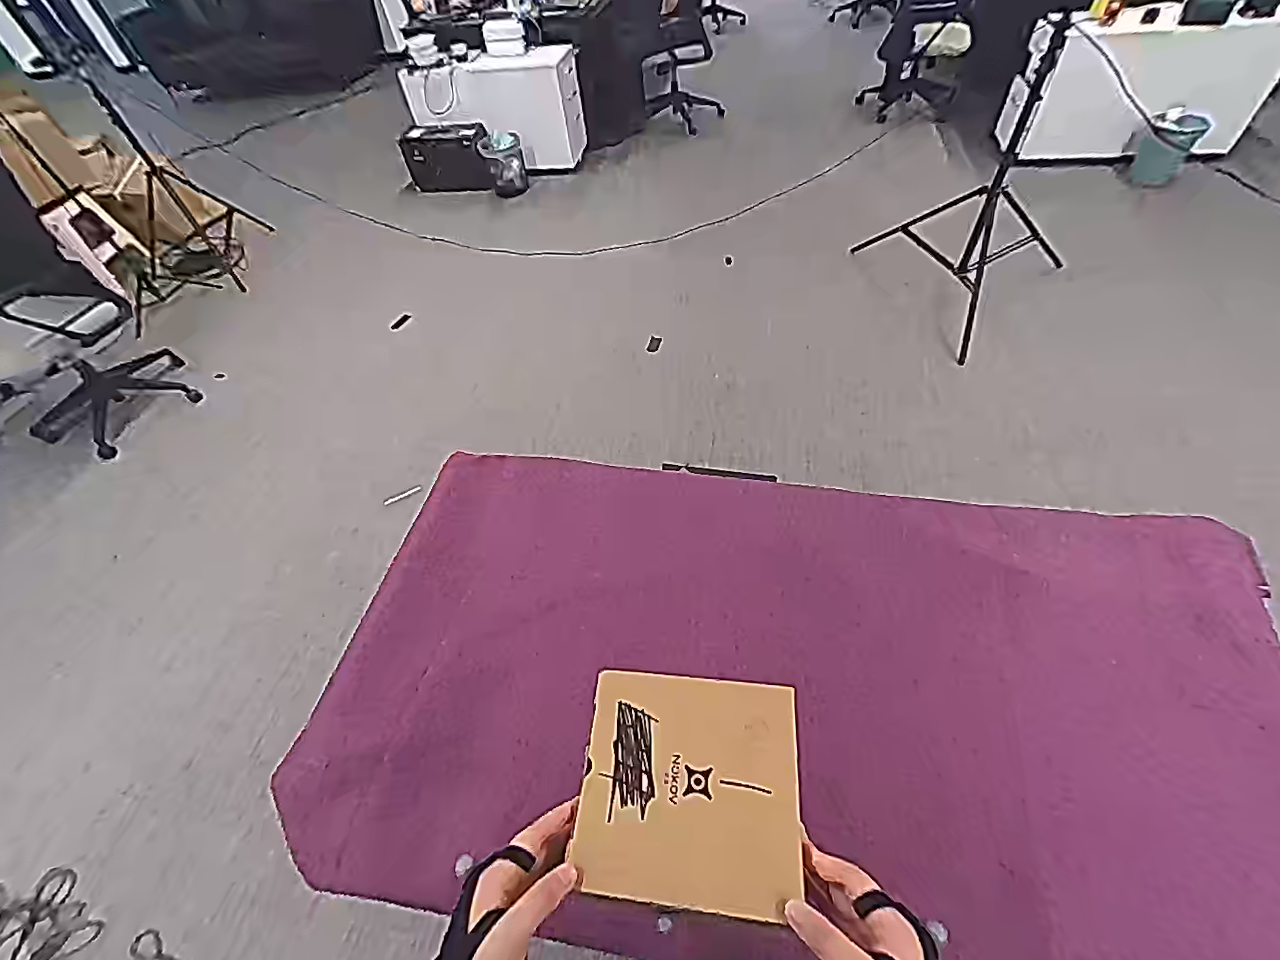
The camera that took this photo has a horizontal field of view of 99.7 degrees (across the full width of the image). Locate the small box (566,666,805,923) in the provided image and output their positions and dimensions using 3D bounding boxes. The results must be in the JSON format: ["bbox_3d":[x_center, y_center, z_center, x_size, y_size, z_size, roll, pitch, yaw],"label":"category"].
[{"bbox_3d":[0.049,0.289,0.496,0.179,0.176,0.168,2,50,9],"label":"small box"}]
